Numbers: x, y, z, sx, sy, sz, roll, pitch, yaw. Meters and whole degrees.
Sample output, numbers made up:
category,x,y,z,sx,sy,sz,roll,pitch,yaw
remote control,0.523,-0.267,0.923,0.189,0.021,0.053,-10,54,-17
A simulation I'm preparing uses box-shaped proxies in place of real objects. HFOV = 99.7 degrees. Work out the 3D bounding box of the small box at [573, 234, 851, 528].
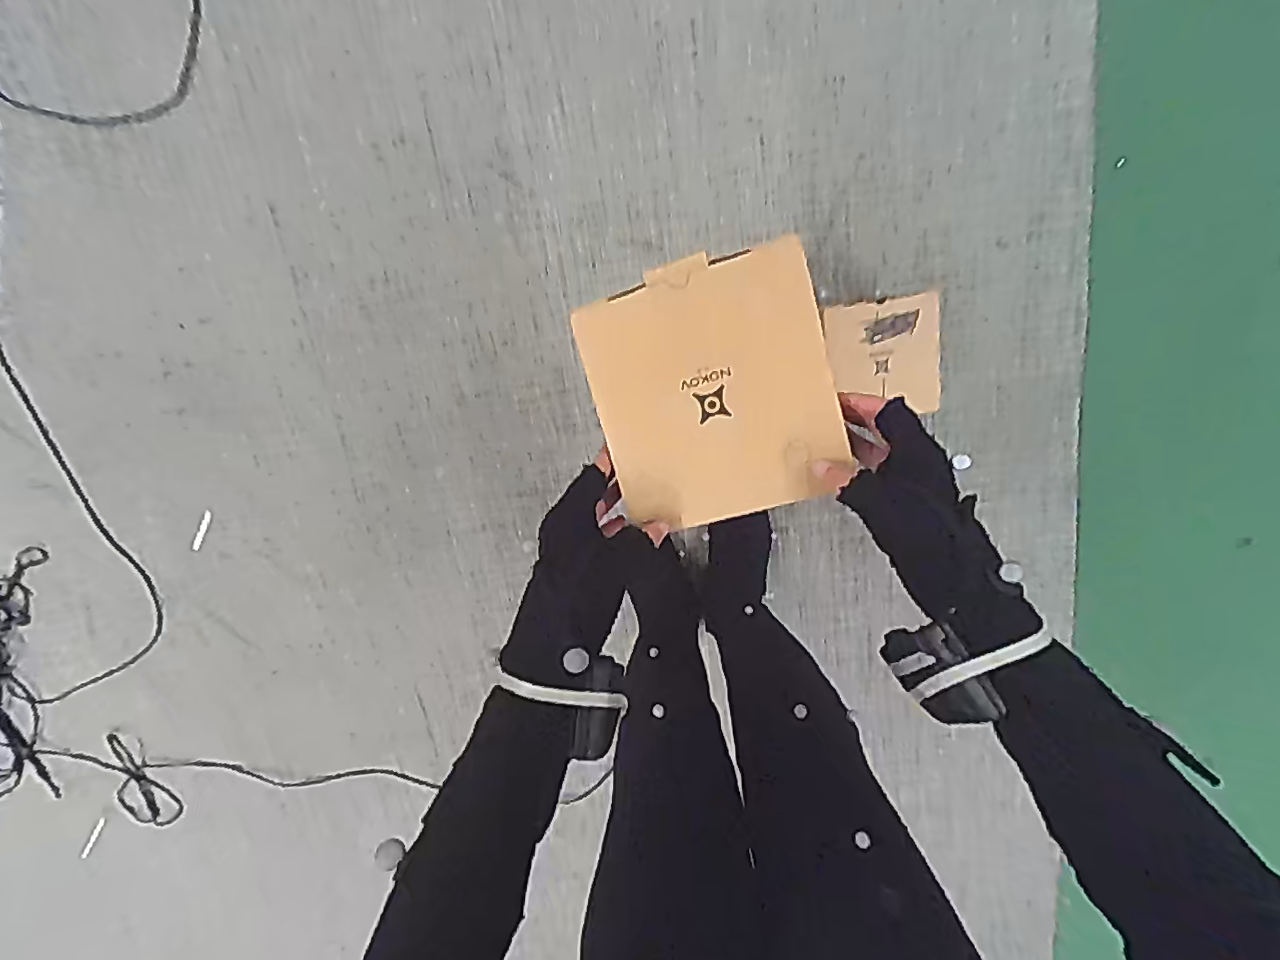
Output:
category,x,y,z,sx,sy,sz,roll,pitch,yaw
small box,0.064,-0.079,0.461,0.168,0.176,0.179,-15,98,12

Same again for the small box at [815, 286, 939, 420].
category,x,y,z,sx,sy,sz,roll,pitch,yaw
small box,0.353,-0.202,0.866,0.168,0.176,0.179,-8,106,3
